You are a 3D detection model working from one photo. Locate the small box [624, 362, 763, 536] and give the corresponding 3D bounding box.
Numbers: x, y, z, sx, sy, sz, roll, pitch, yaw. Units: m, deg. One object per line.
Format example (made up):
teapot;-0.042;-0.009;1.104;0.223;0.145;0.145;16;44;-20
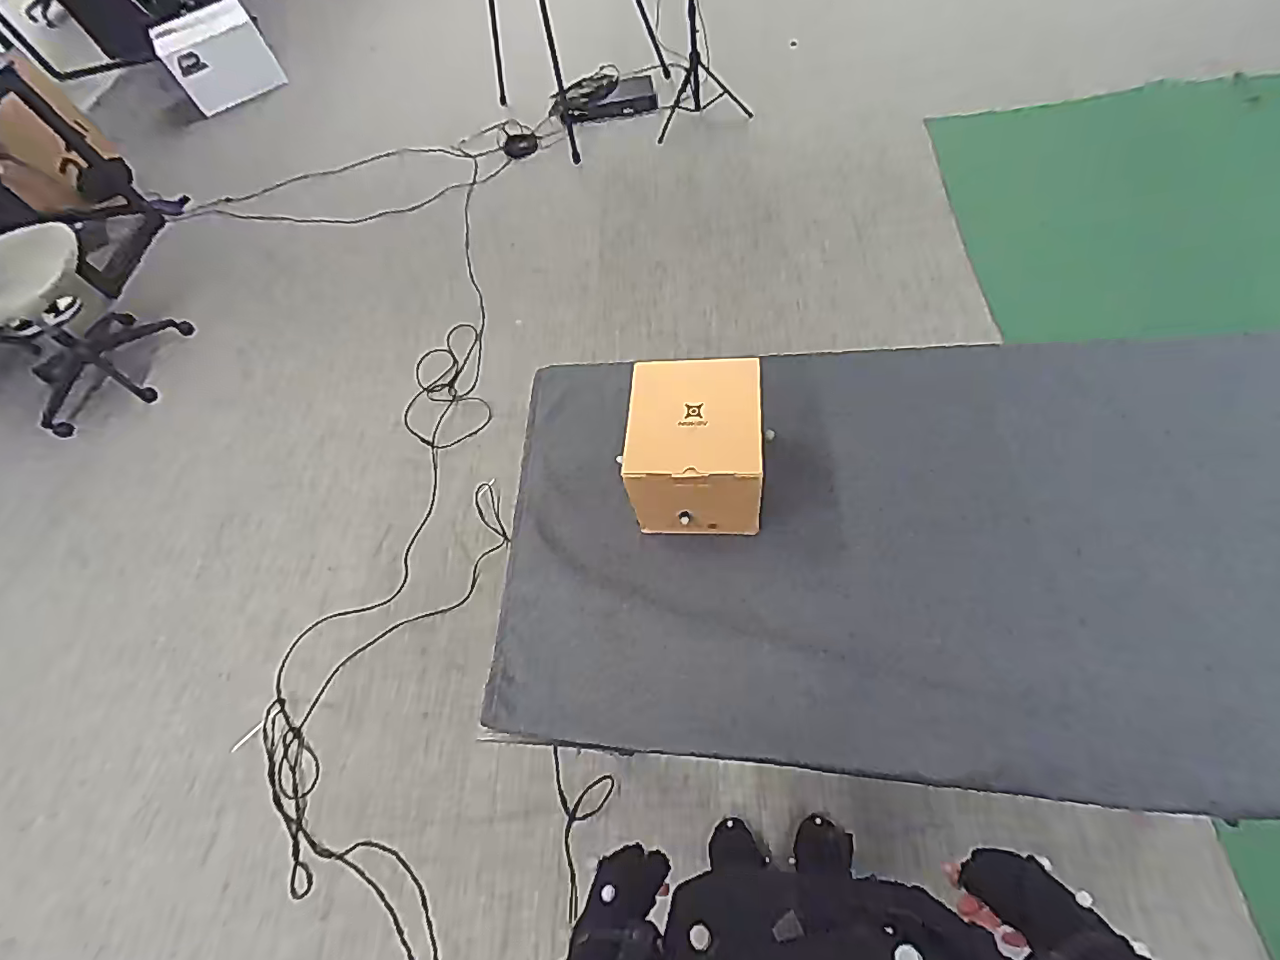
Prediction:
small box;0.078;-0.039;0.736;0.168;0.176;0.179;0;62;10
